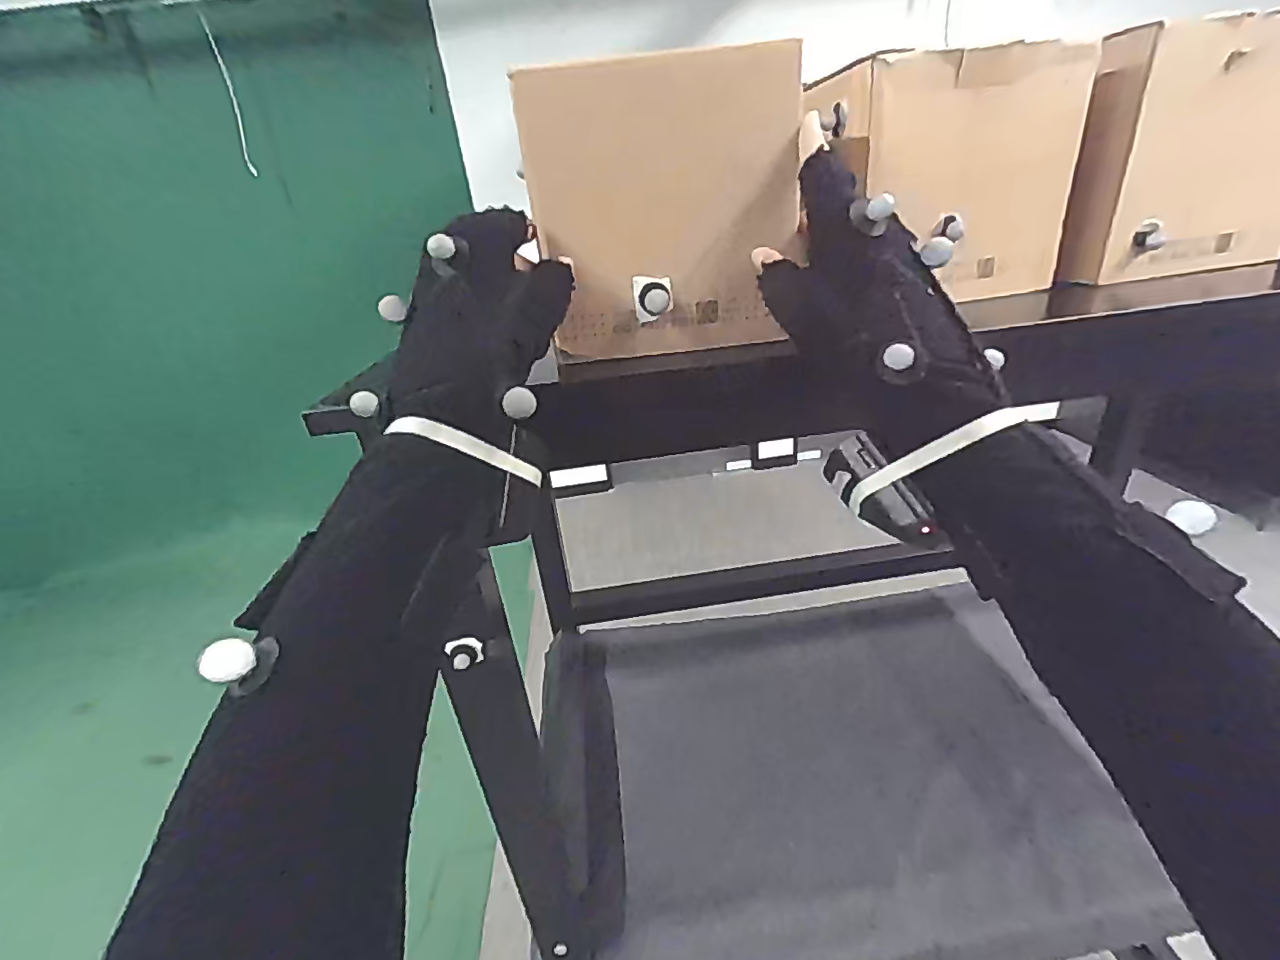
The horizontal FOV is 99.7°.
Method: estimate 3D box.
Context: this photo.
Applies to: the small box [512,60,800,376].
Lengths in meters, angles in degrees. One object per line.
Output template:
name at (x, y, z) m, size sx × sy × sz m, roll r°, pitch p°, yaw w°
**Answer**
small box at (0.012, -0.187, 0.412) m, size 0.168 × 0.176 × 0.179 m, roll -9°, pitch 27°, yaw -1°
